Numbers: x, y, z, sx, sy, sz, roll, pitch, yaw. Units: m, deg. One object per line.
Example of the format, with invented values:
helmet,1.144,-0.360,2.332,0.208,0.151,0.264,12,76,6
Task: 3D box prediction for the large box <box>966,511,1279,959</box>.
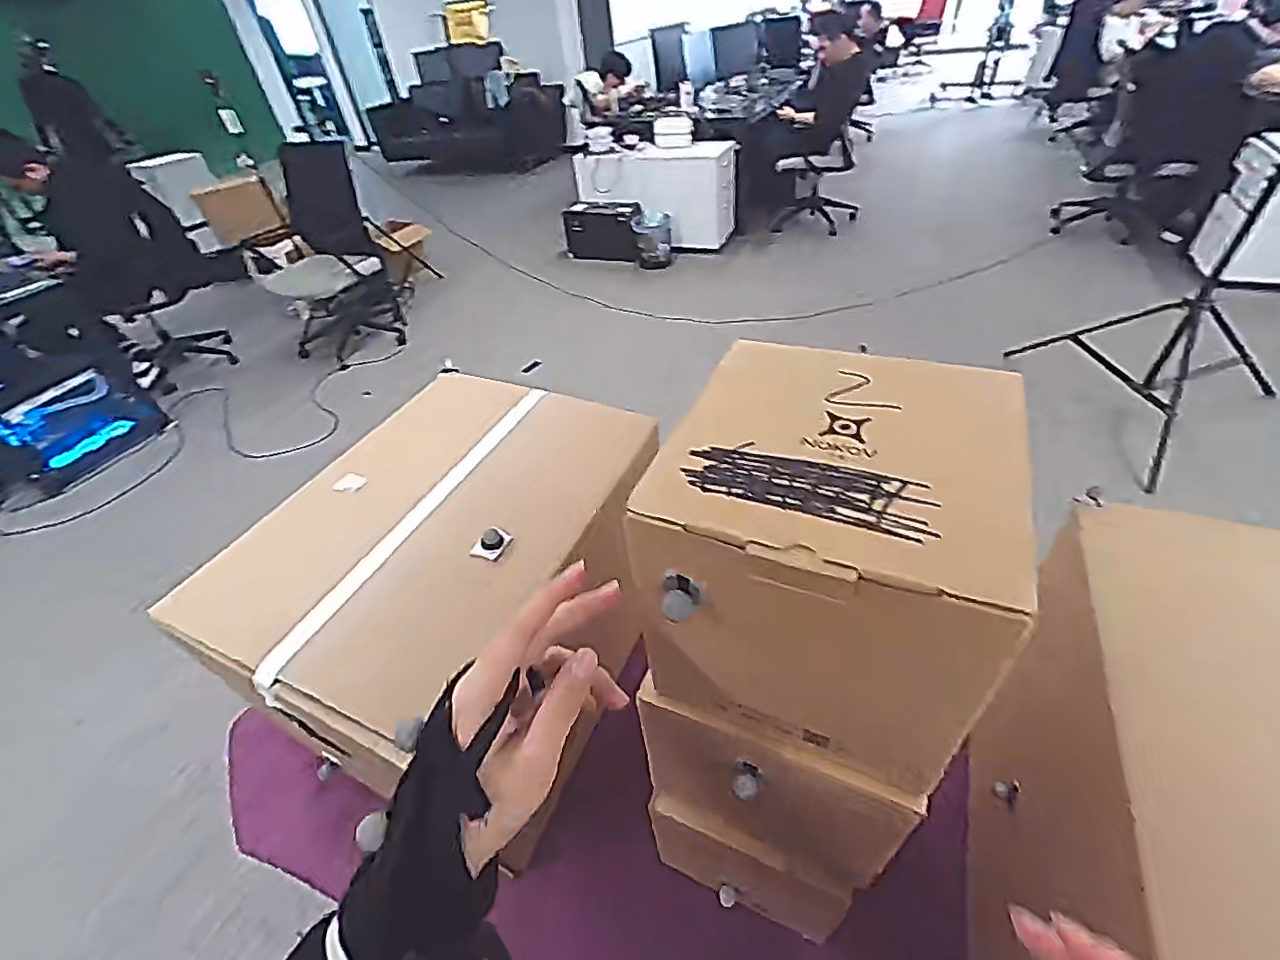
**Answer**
large box,0.448,0.291,0.388,0.320,0.320,0.408,13,44,21
